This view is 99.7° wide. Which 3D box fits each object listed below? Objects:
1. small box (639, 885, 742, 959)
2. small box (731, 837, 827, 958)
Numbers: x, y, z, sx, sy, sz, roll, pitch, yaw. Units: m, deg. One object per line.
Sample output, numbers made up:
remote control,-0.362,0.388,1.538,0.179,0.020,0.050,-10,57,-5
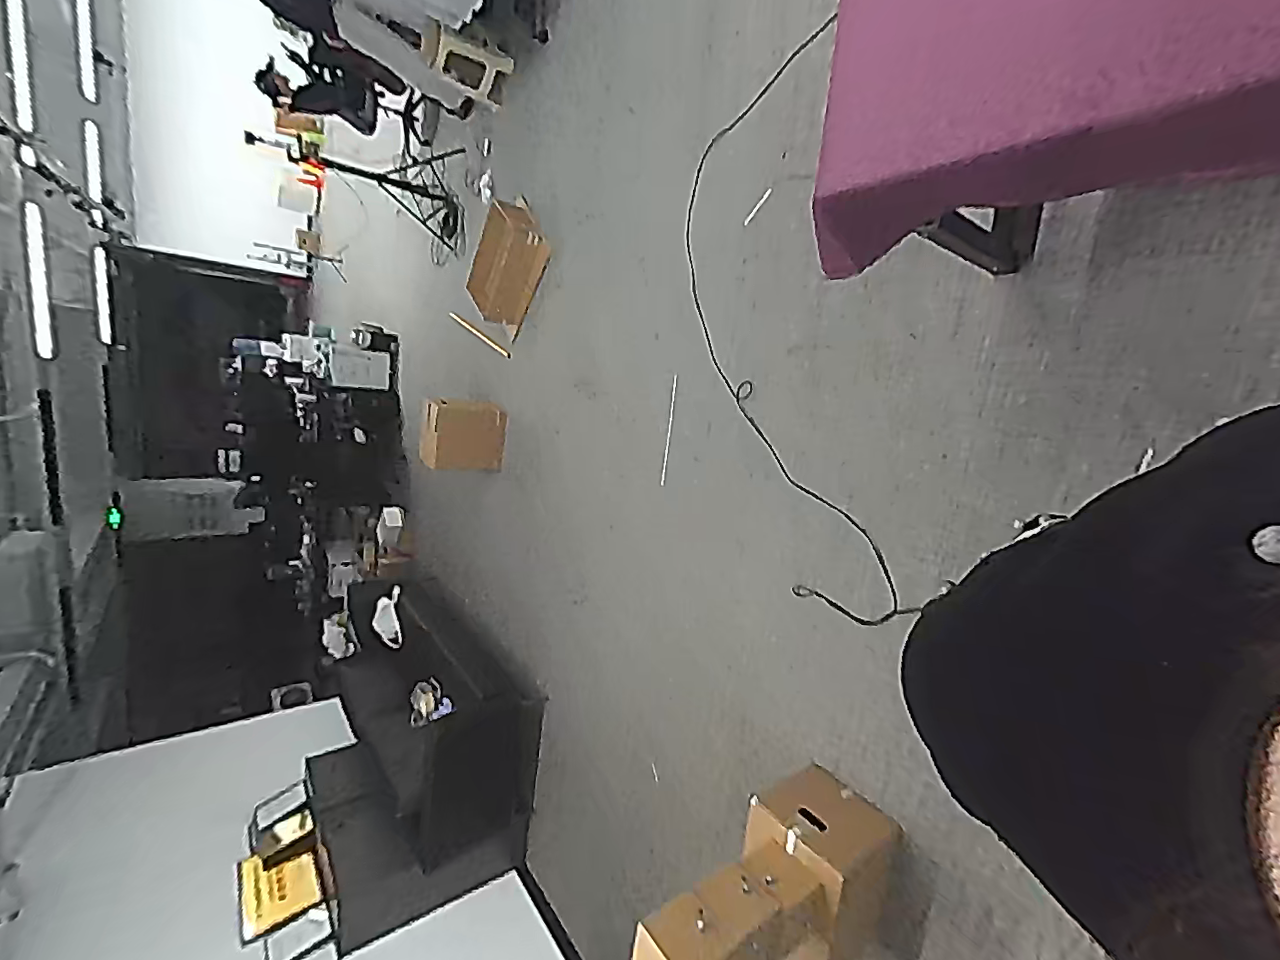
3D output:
small box,0.118,1.116,1.266,0.168,0.176,0.179,21,107,48
small box,0.377,1.117,1.470,0.179,0.176,0.168,16,105,49
